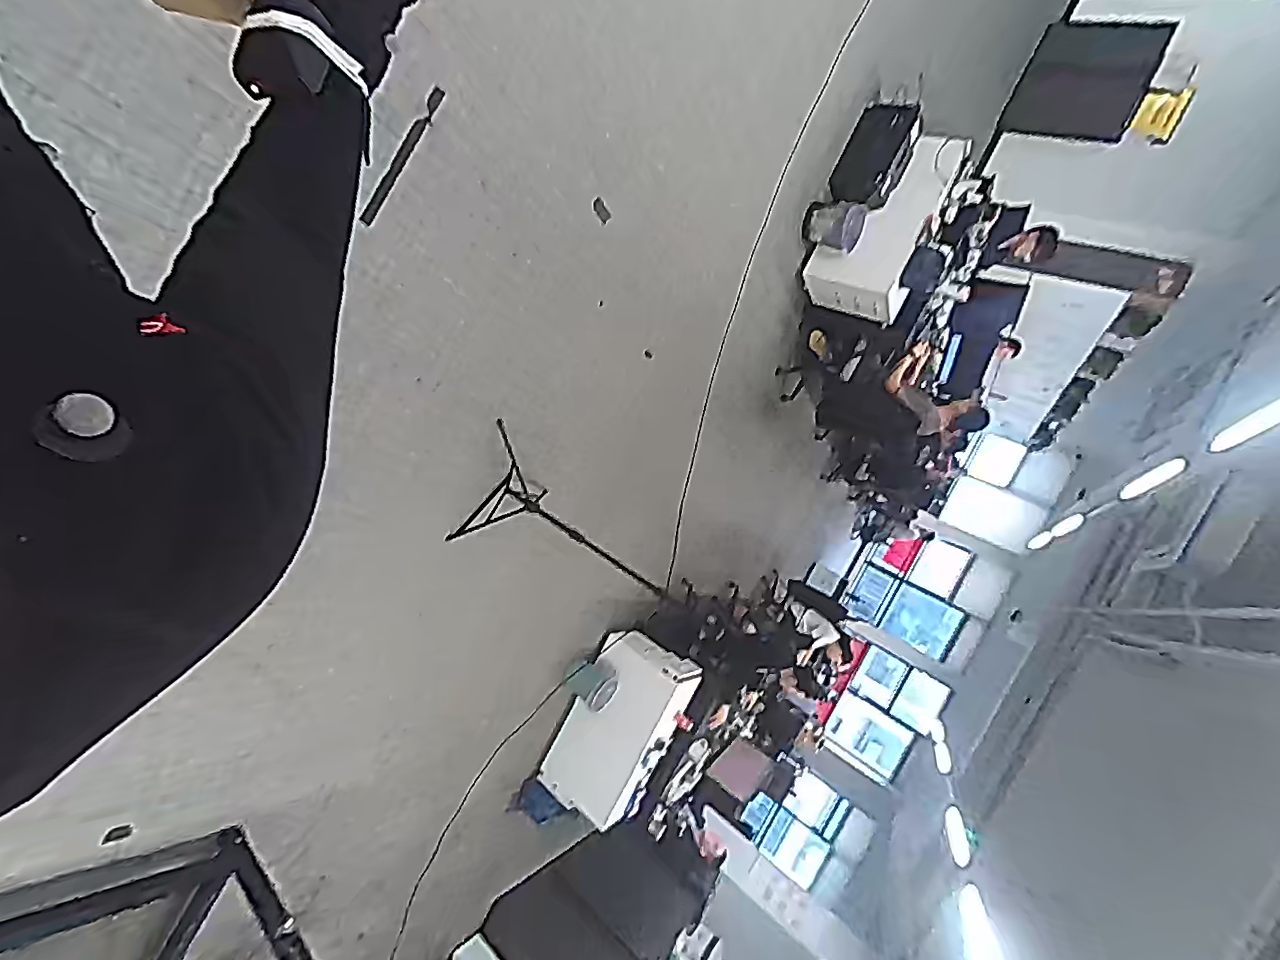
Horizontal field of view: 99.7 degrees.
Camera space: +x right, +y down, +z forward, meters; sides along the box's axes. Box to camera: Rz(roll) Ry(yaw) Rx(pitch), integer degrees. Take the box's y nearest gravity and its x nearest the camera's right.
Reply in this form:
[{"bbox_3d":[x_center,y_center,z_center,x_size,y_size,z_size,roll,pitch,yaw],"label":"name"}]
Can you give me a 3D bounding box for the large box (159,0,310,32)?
[{"bbox_3d":[-0.415,-0.593,0.320,0.320,0.320,0.408,-60,153,7],"label":"large box"}]
